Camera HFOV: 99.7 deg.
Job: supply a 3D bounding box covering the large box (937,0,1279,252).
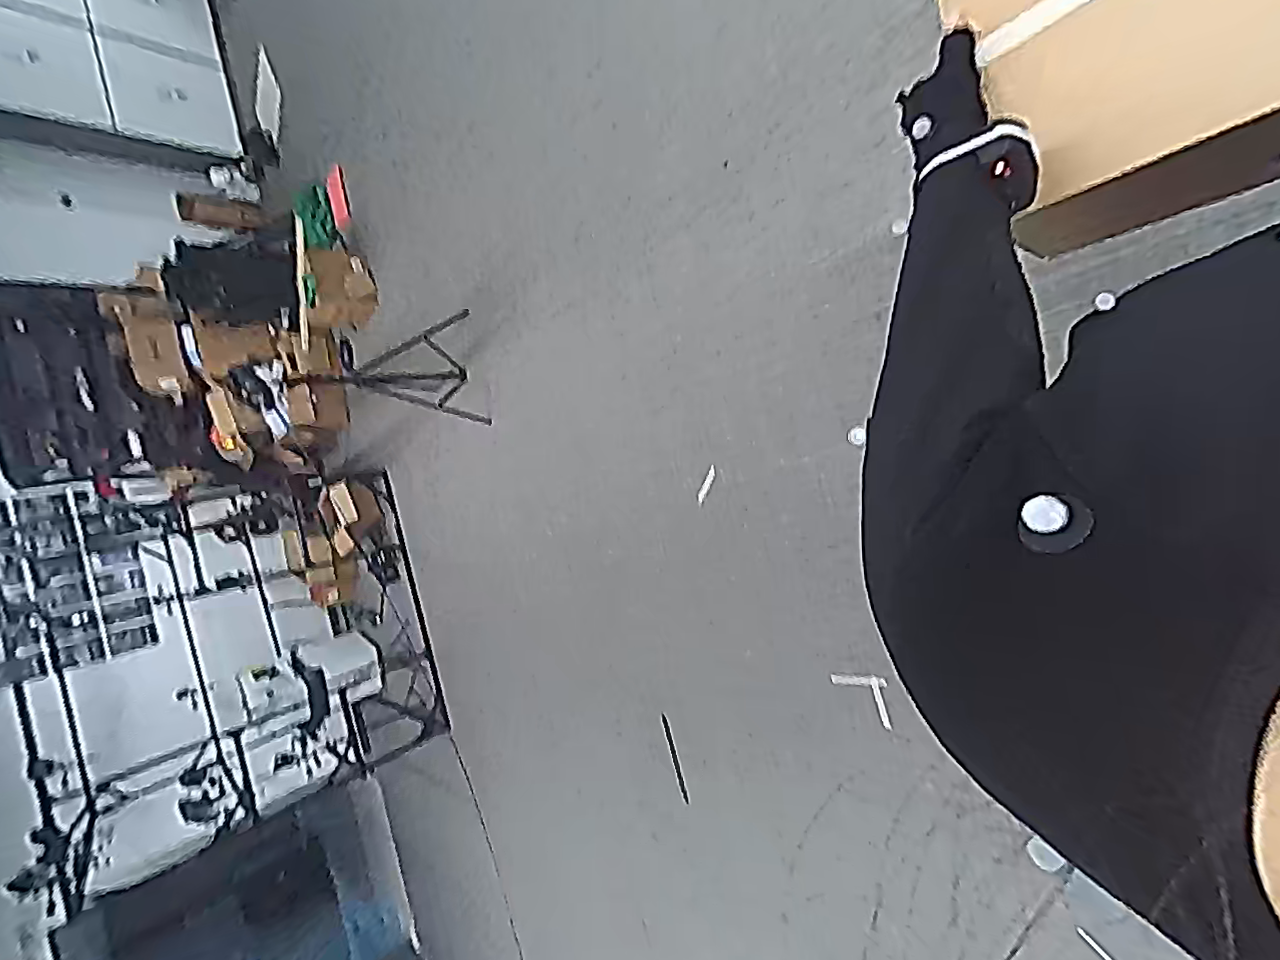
[{"bbox_3d":[0.553,-0.458,0.495,0.408,0.320,0.320,-11,91,48],"label":"large box"}]
